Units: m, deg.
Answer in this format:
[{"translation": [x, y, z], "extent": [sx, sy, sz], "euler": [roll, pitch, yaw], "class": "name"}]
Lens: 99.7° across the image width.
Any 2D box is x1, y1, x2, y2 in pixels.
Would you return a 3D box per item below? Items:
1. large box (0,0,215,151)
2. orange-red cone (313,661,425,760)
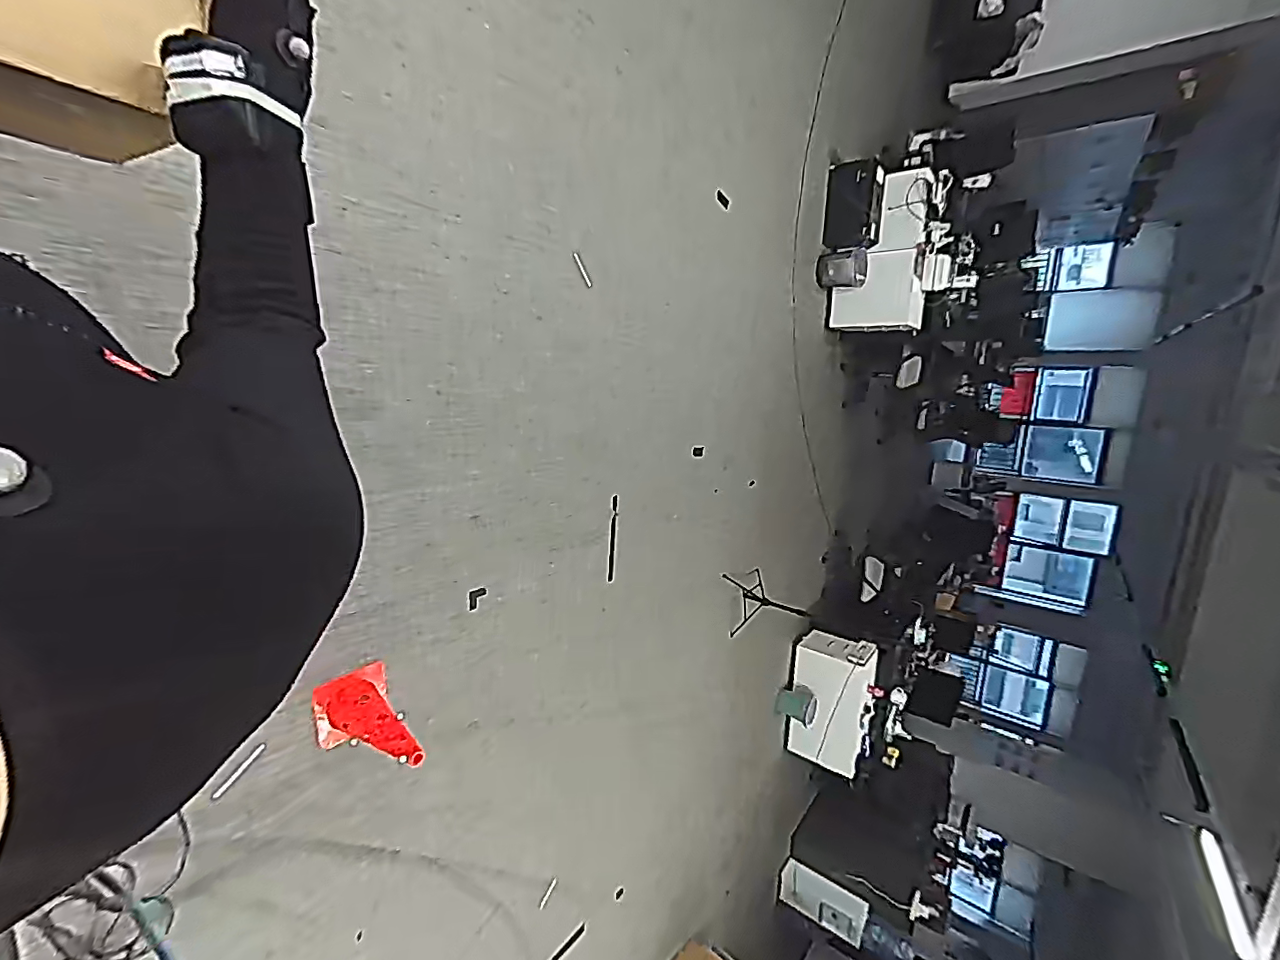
[{"translation": [-0.536, -0.433, 0.298], "extent": [0.408, 0.320, 0.320], "euler": [-9, 113, -53], "class": "large box"}, {"translation": [-0.702, 0.669, 1.470], "extent": [0.198, 0.360, 0.199], "euler": [-15, 109, -52], "class": "orange-red cone"}]
